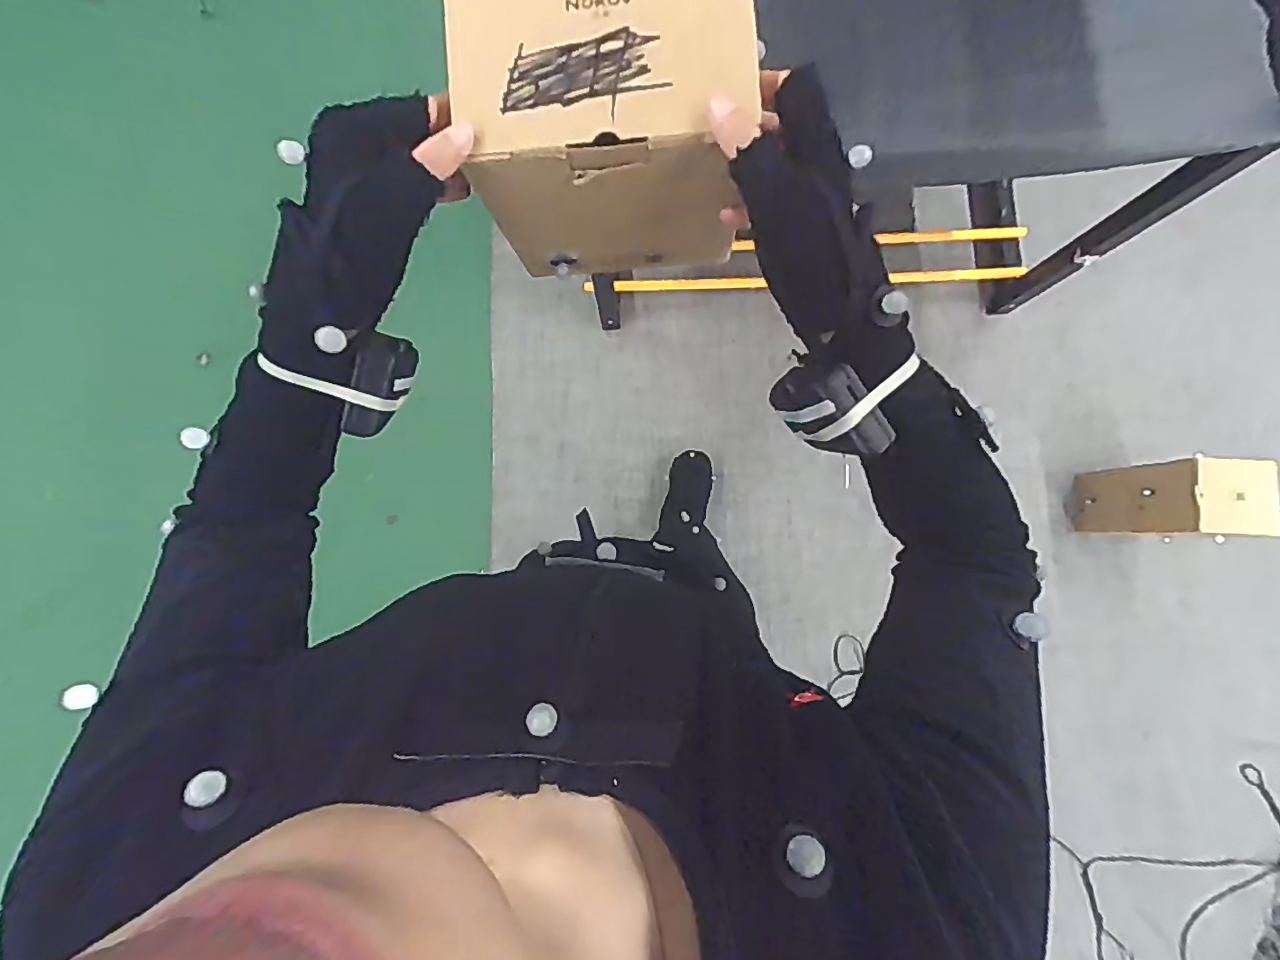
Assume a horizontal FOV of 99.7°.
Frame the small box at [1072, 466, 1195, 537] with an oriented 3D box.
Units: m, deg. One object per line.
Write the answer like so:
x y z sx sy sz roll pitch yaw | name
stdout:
1.285 0.060 1.416 0.179 0.176 0.168 4 83 1 | small box
